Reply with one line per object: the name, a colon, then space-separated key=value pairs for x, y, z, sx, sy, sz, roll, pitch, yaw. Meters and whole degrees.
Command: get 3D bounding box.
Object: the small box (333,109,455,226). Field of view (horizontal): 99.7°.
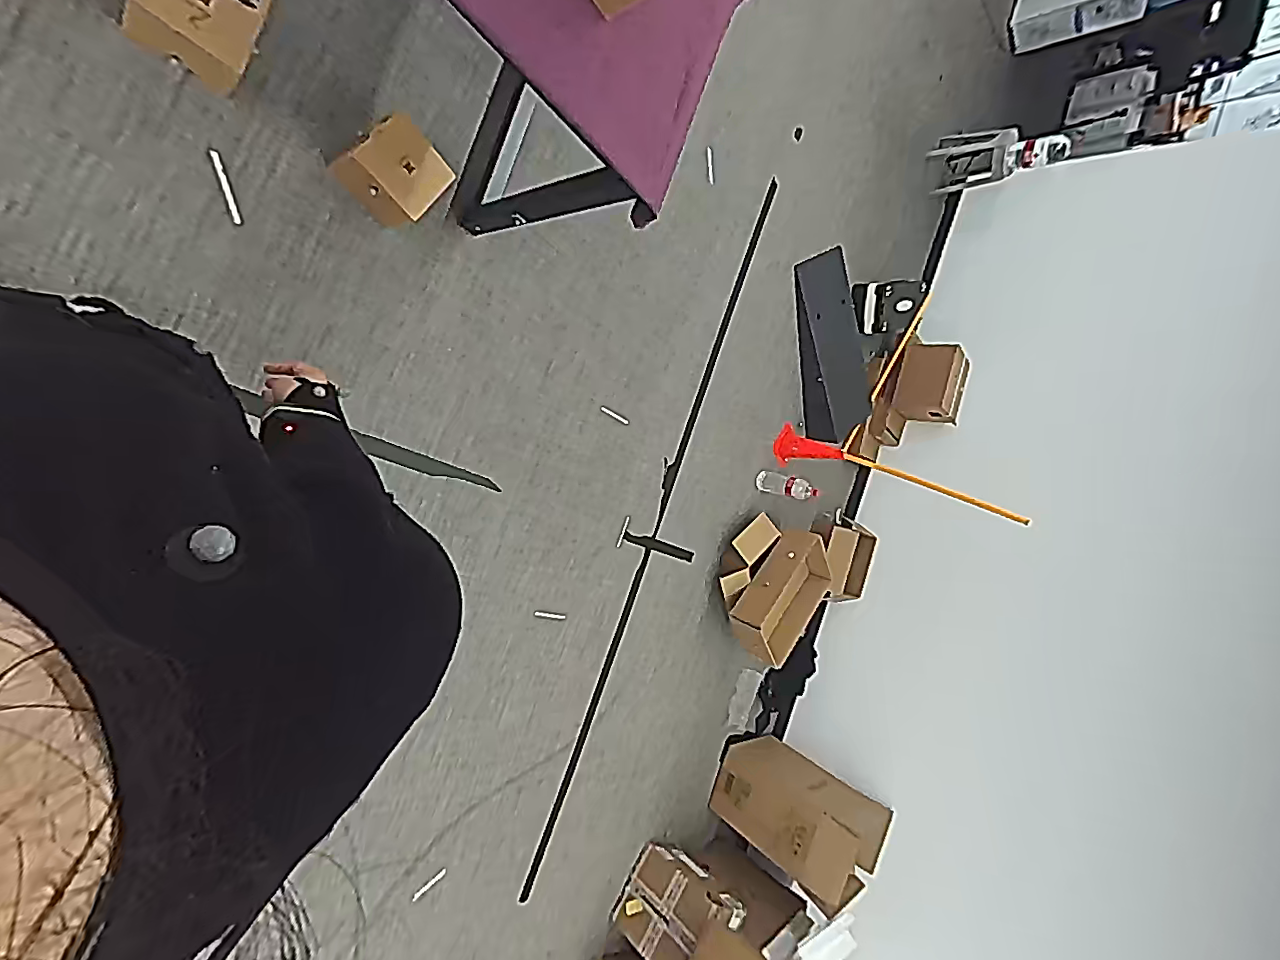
small box: x=-0.589 y=-0.735 z=1.295 sx=0.179 sy=0.176 sz=0.168 roll=47 pitch=69 yaw=-41
